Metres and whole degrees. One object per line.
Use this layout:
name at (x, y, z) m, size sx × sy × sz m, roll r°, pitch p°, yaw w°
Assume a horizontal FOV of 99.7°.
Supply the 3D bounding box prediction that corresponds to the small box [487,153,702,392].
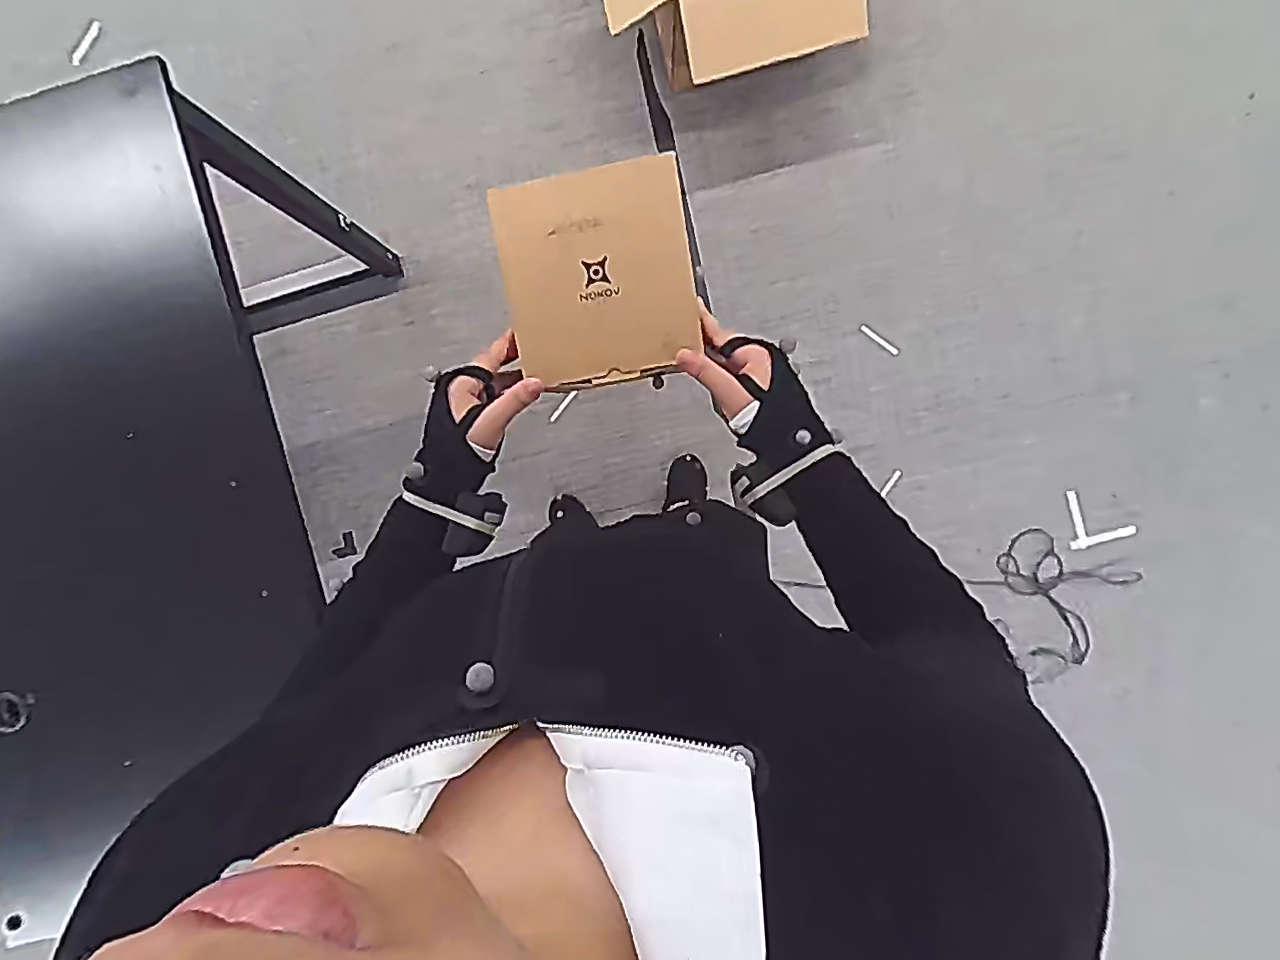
small box at (-0.033, -0.189, 0.547) m, size 0.168 × 0.176 × 0.179 m, roll -10°, pitch 98°, yaw 4°
